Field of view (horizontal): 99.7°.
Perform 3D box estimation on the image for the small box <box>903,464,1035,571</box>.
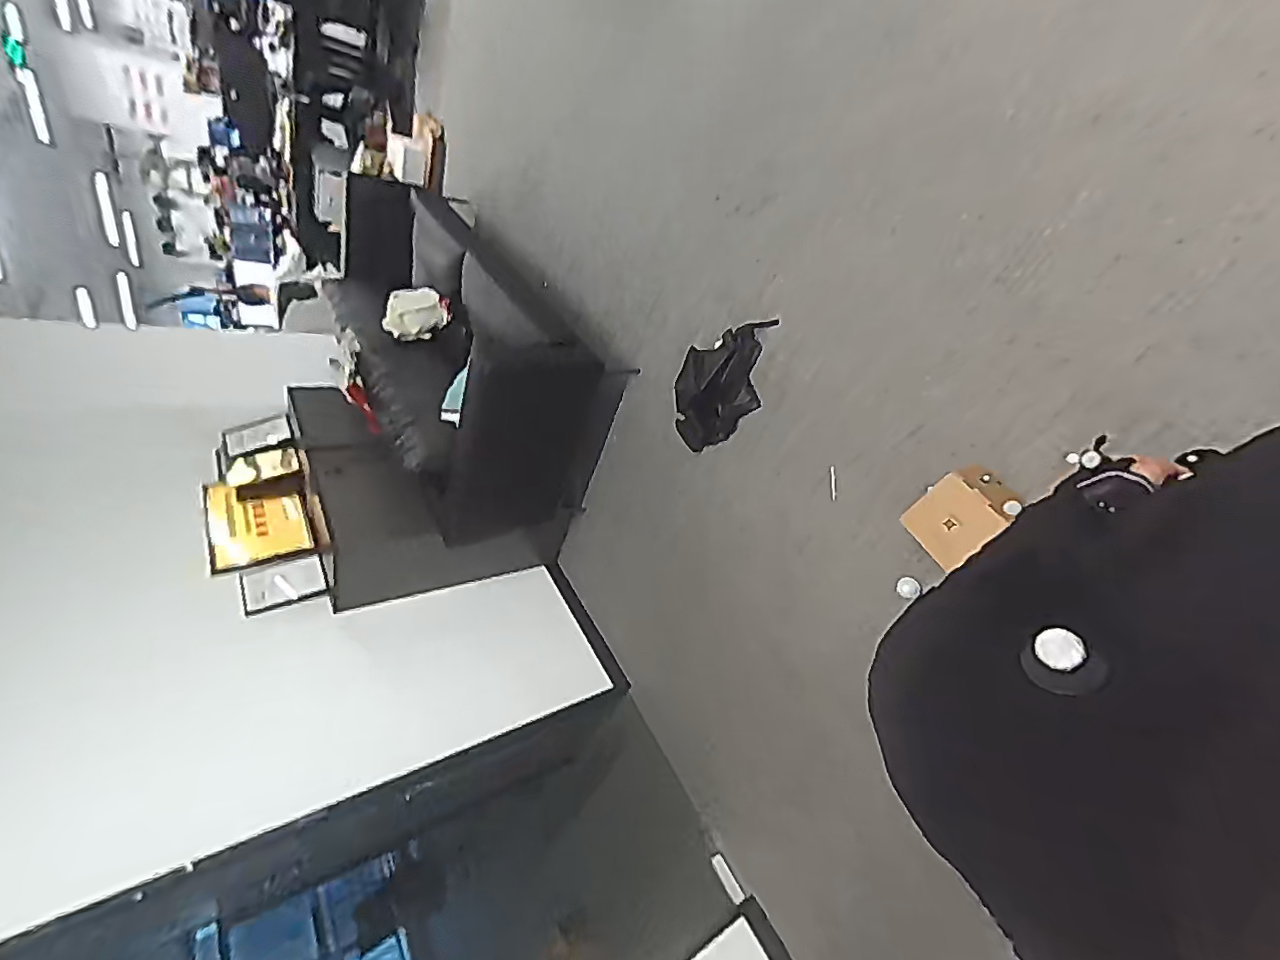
[{"bbox_3d":[0.756,0.079,1.235,0.168,0.176,0.179,58,138,31],"label":"small box"}]
